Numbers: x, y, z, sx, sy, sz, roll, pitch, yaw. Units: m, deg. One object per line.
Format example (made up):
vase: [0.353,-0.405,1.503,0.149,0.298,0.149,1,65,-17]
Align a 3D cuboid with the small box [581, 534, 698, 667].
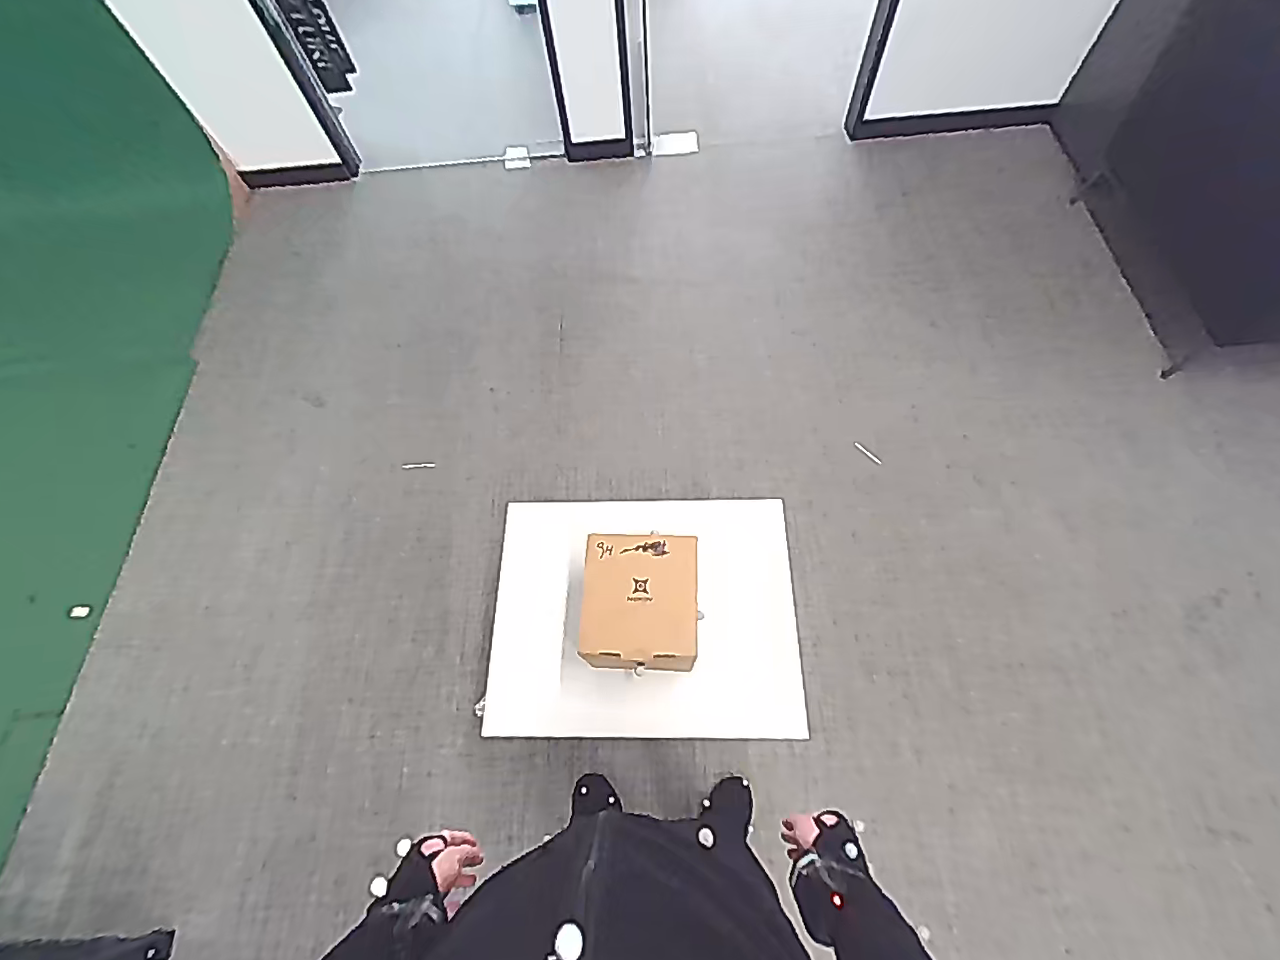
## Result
small box: [0.006,0.193,0.843,0.168,0.176,0.179,-1,64,3]
